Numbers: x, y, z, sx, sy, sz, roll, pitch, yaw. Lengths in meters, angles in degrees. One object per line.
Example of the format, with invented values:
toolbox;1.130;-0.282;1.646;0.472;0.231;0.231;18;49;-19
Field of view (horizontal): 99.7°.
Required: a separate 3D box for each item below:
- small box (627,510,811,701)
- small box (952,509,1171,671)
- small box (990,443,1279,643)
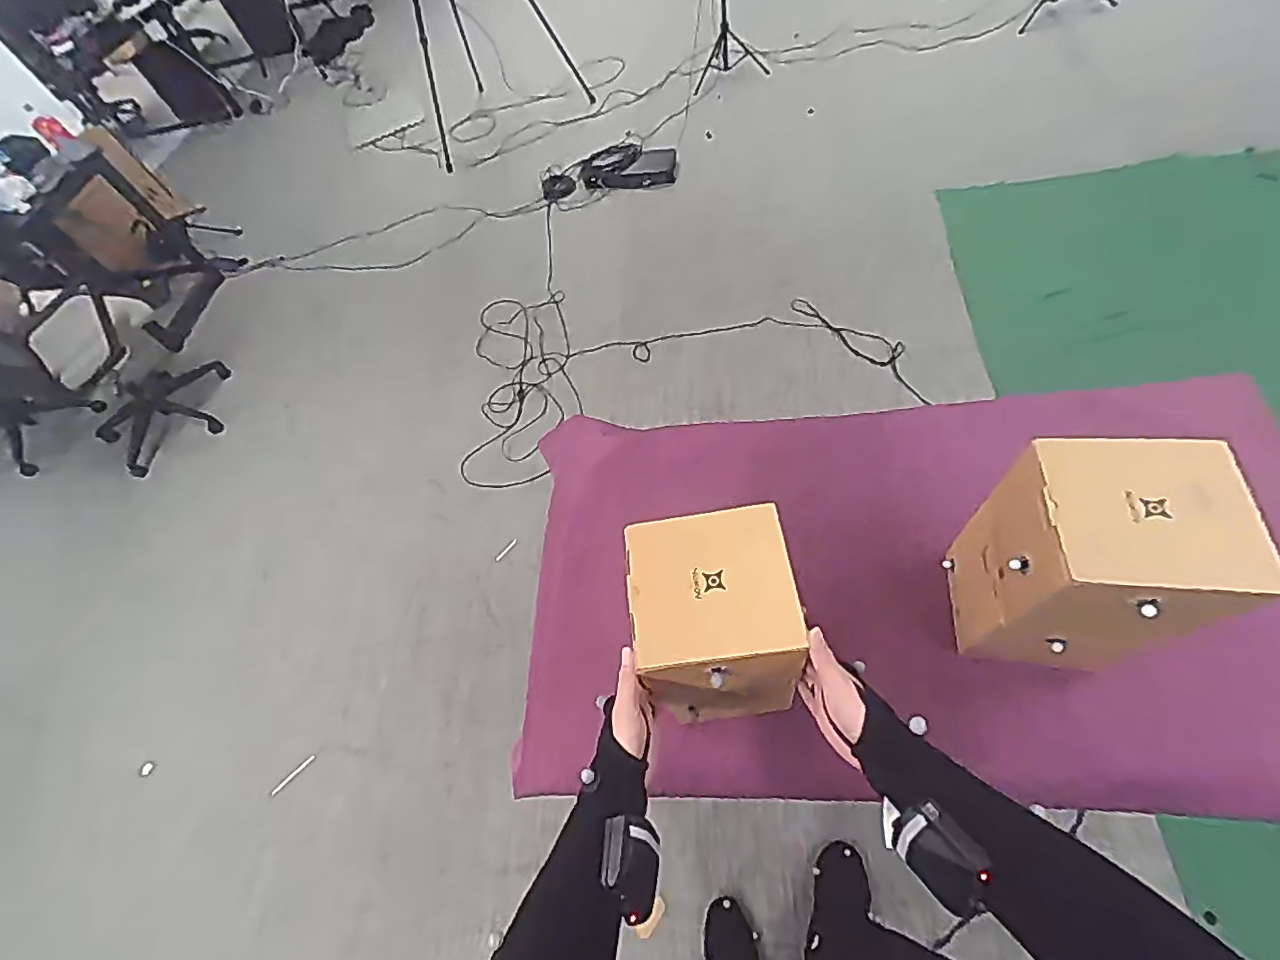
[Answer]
small box;0.089;0.155;0.640;0.179;0.176;0.168;-10;57;6
small box;0.544;0.153;0.736;0.179;0.176;0.168;3;60;13
small box;0.513;0.074;0.597;0.179;0.176;0.168;2;61;13
